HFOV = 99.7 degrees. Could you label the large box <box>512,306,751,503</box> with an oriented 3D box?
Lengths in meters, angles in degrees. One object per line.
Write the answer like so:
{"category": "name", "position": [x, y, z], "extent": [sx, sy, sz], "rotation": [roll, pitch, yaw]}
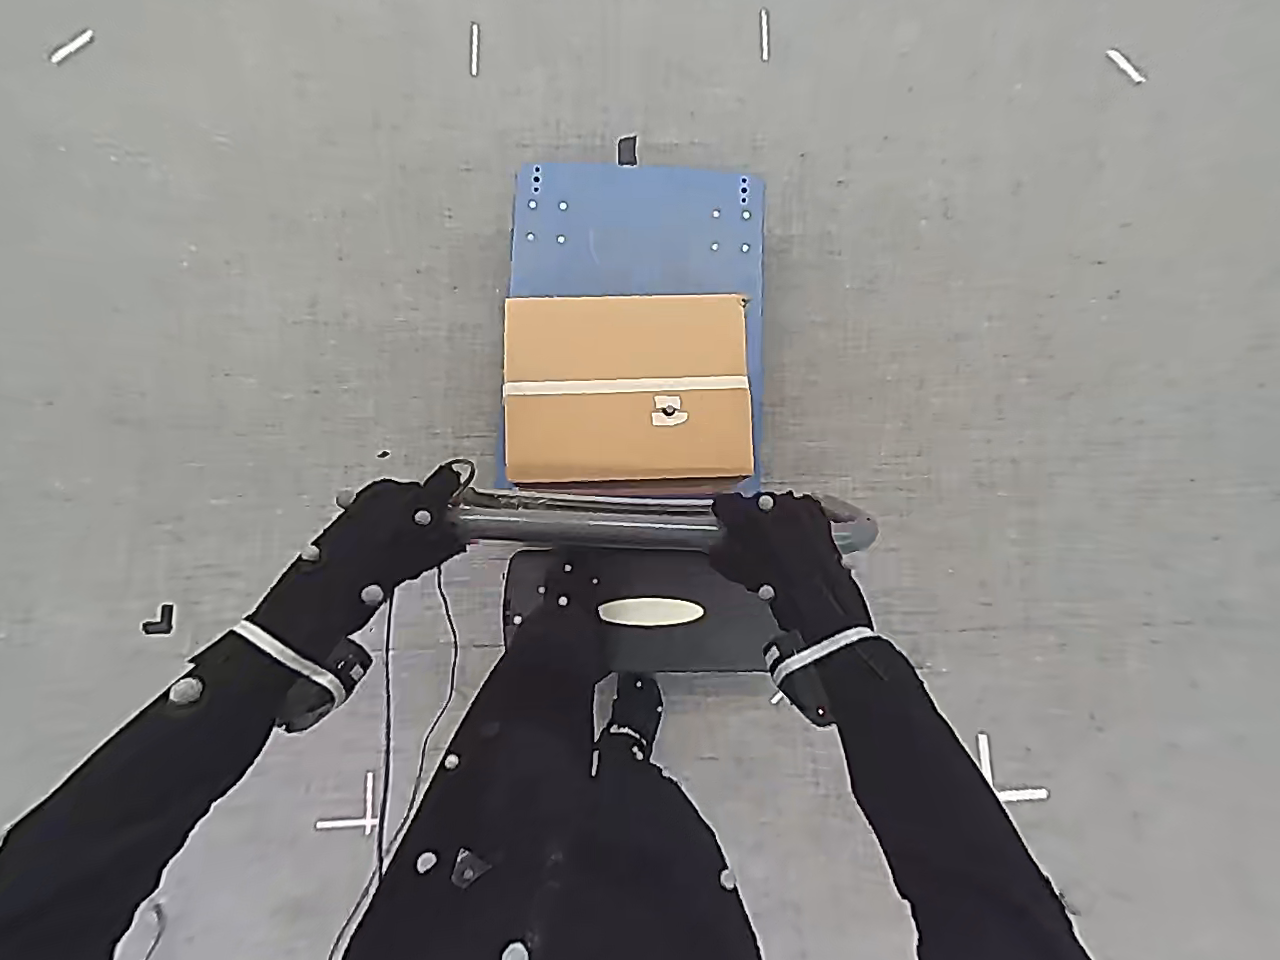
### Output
{"category": "large box", "position": [-0.024, -0.127, 1.065], "extent": [0.408, 0.320, 0.320], "rotation": [-1, 84, -3]}
